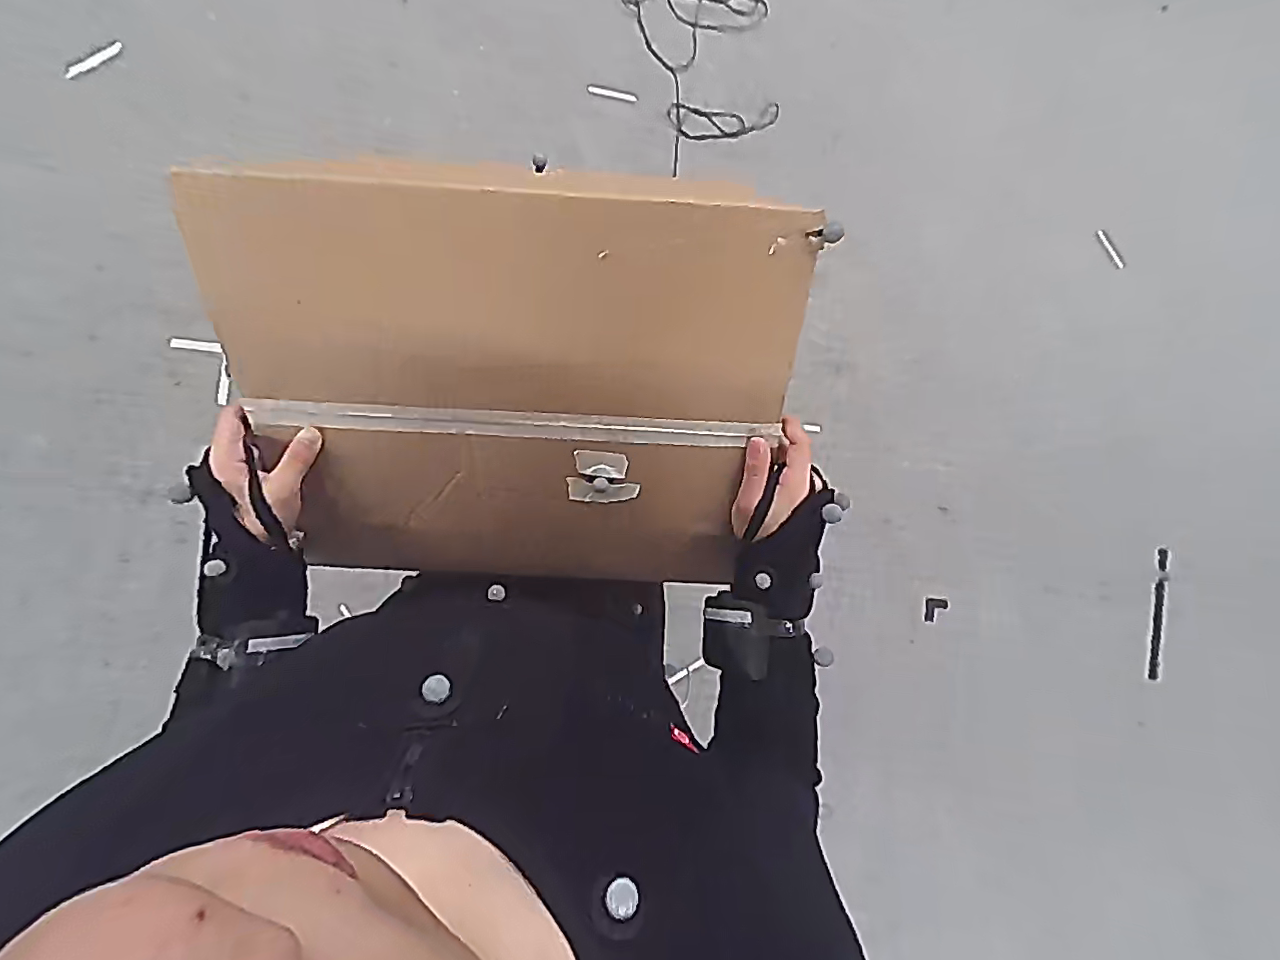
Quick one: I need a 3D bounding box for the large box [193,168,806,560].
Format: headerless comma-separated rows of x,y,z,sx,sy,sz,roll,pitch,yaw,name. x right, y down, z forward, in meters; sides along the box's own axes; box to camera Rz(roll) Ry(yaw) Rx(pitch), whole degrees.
-0.097,-0.134,0.552,0.408,0.320,0.320,1,123,-2,large box
